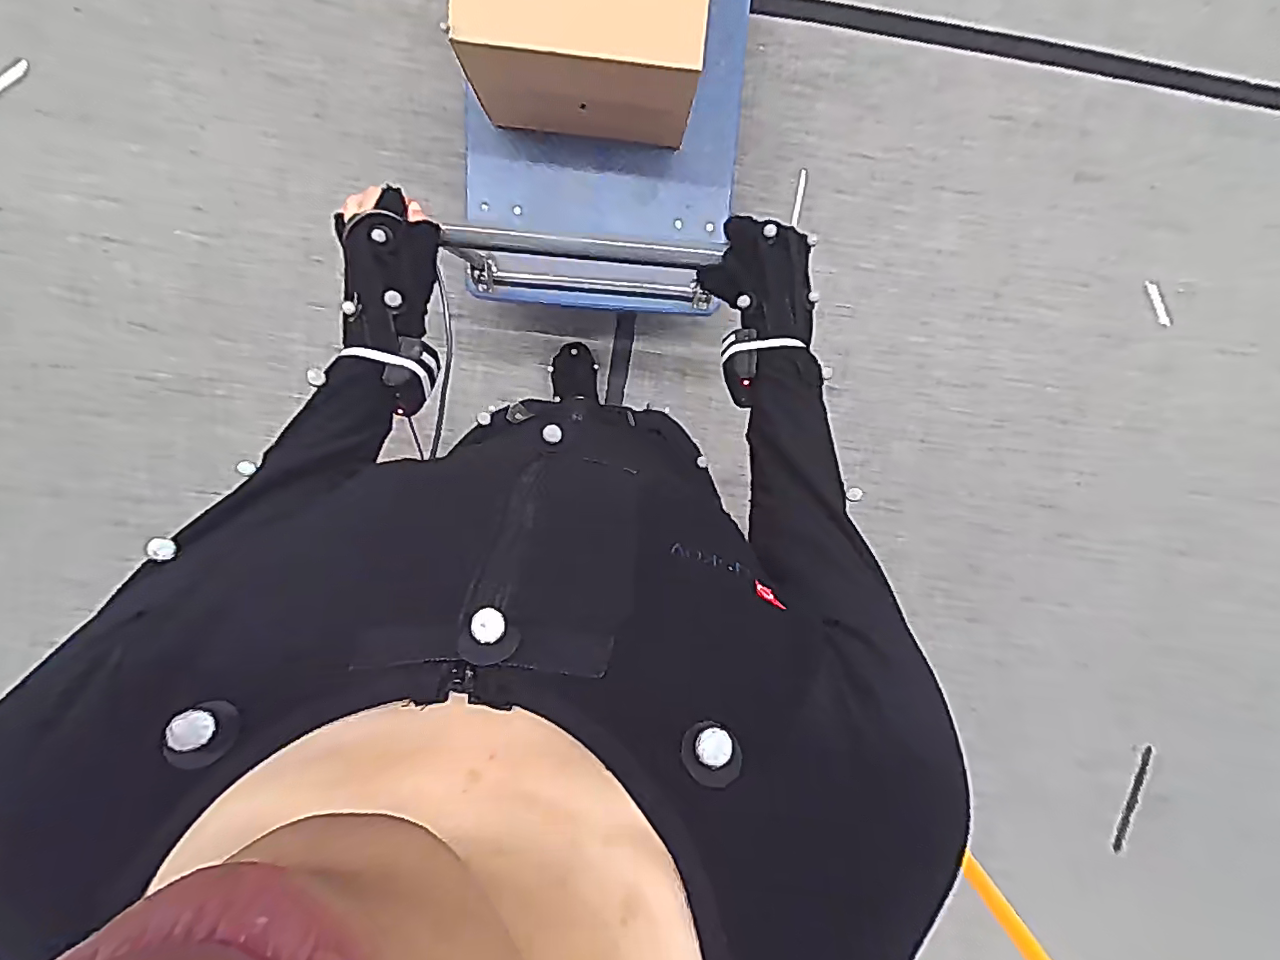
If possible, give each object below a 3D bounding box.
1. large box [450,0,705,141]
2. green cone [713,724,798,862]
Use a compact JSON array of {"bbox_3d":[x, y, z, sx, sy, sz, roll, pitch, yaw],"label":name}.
[{"bbox_3d":[-0.094,-0.853,0.977,0.408,0.320,0.320,5,101,-3],"label":"large box"},{"bbox_3d":[0.347,0.879,1.484,0.202,0.368,0.200,11,100,-6],"label":"green cone"}]
